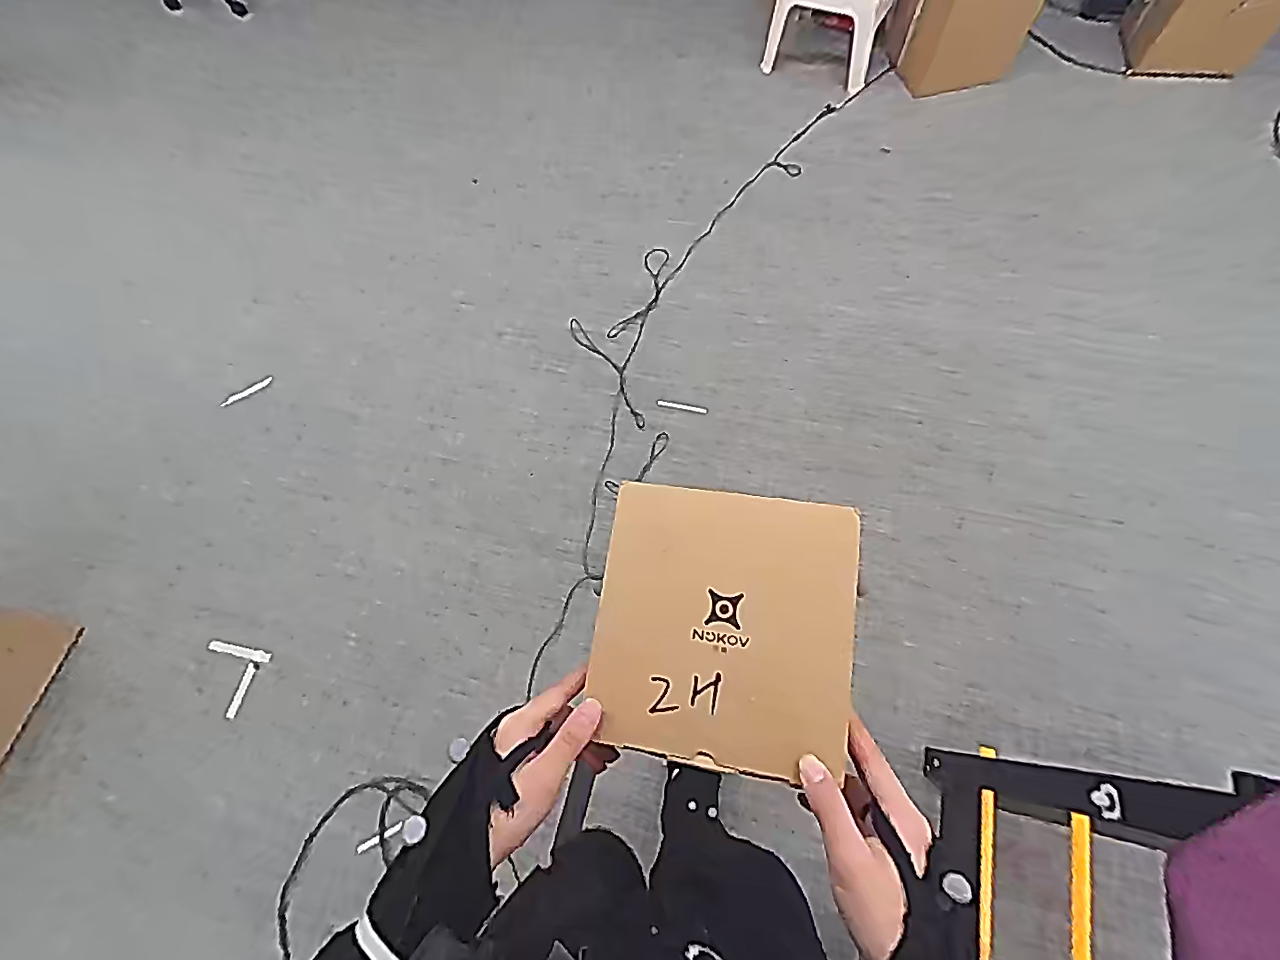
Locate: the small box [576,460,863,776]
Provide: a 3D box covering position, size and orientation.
[{"bbox_3d":[0.064,0.100,0.420,0.168,0.176,0.179,7,75,12],"label":"small box"}]
